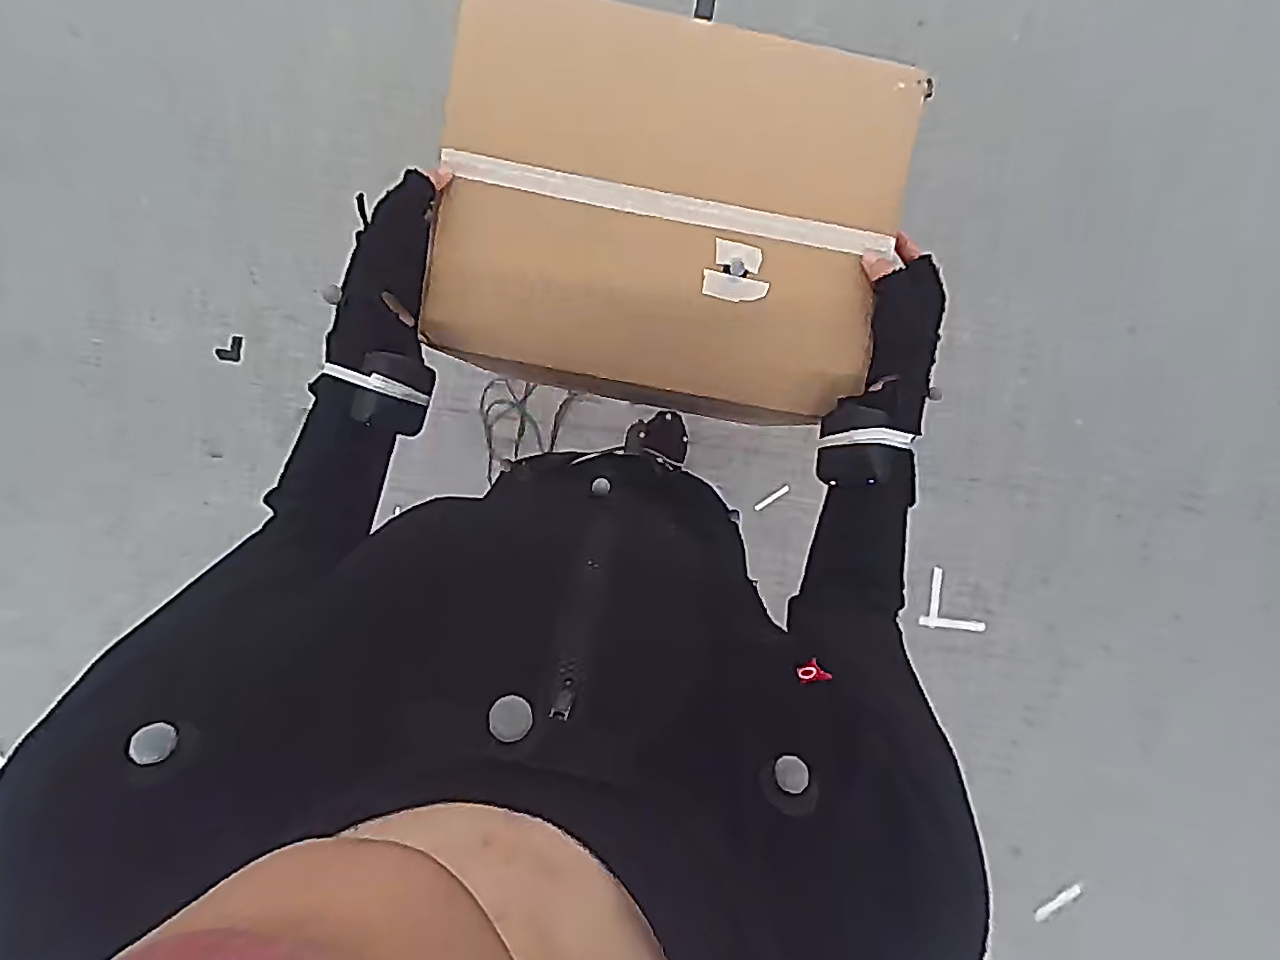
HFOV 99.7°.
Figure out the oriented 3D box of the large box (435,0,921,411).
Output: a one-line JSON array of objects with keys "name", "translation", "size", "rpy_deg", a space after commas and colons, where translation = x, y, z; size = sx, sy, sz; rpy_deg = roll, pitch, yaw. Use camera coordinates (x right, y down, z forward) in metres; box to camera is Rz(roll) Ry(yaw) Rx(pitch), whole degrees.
[{"name": "large box", "translation": [0.025, -0.267, 0.634], "size": [0.408, 0.320, 0.320], "rpy_deg": [10, 97, -3]}]
